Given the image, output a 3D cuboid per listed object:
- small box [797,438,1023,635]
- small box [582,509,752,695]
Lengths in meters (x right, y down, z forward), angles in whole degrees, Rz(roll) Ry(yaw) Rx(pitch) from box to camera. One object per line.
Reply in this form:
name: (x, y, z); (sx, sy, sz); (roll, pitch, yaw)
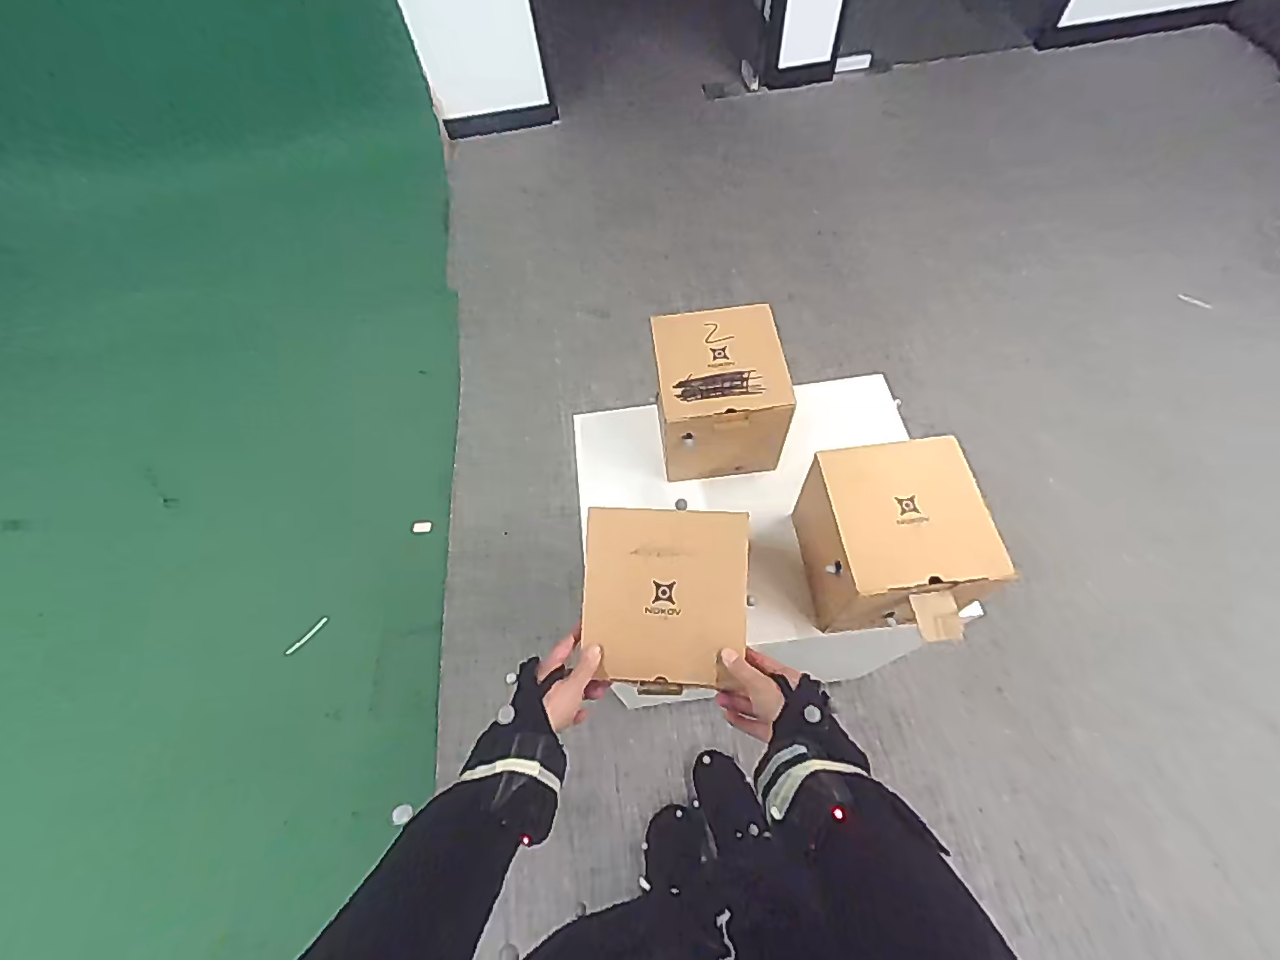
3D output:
small box: (0.302, 0.073, 0.655); (0.168, 0.176, 0.179); (-7, 60, 0)
small box: (0.034, 0.125, 0.614); (0.168, 0.176, 0.179); (2, 85, 5)
